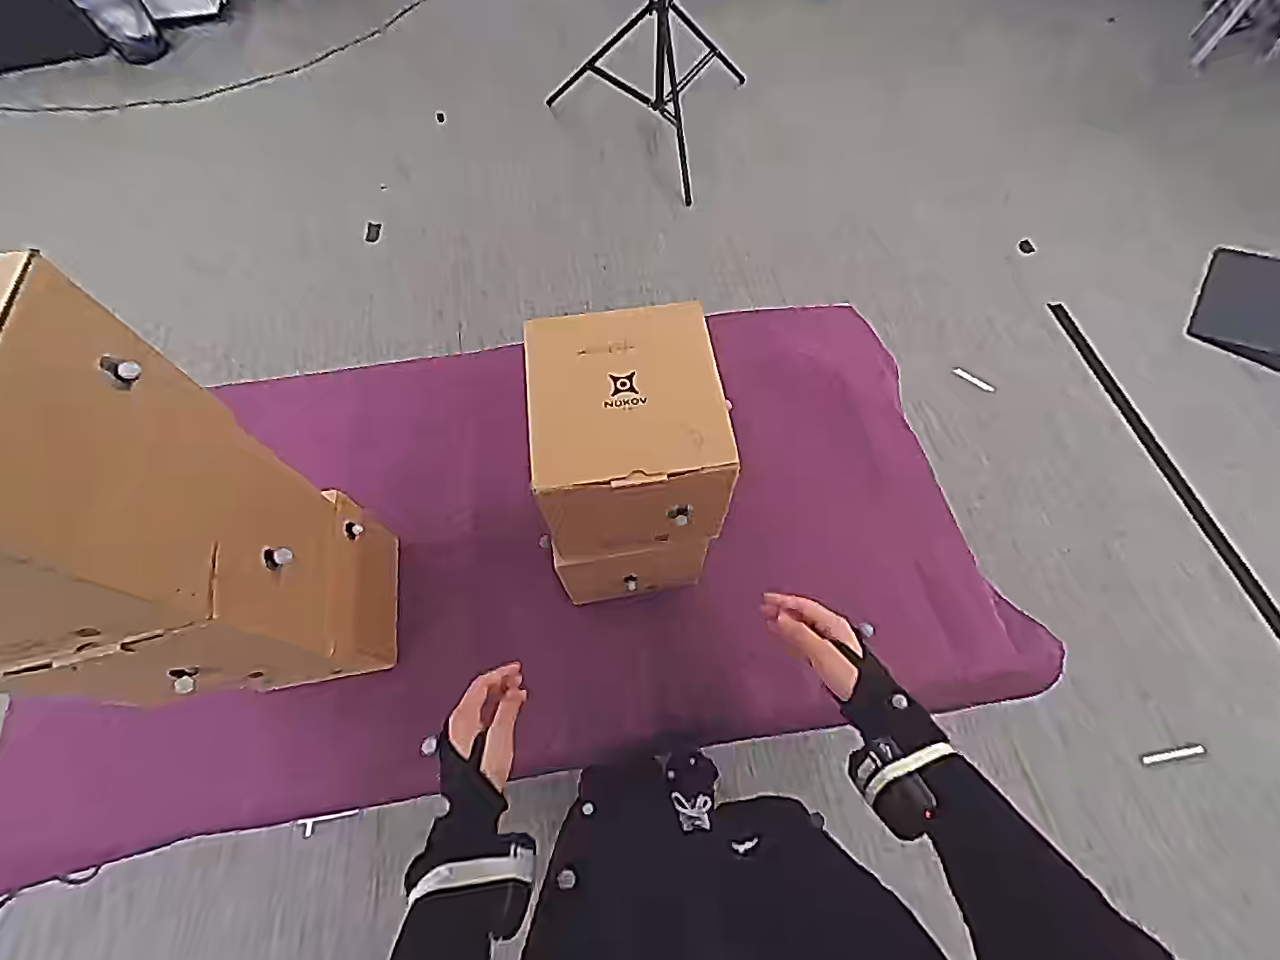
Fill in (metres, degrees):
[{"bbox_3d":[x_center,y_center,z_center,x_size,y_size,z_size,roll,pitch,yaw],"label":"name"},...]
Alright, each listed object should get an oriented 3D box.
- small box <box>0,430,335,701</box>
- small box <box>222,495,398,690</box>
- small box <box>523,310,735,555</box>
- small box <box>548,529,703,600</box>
[{"bbox_3d":[-0.393,0.086,0.477,0.168,0.176,0.179,-14,65,-6],"label":"small box"},{"bbox_3d":[-0.399,0.141,0.633,0.168,0.176,0.179,-10,64,-4],"label":"small box"},{"bbox_3d":[-0.014,-0.035,0.530,0.168,0.176,0.179,-8,63,-4],"label":"small box"},{"bbox_3d":[-0.023,0.042,0.673,0.168,0.176,0.179,-9,64,-4],"label":"small box"}]
